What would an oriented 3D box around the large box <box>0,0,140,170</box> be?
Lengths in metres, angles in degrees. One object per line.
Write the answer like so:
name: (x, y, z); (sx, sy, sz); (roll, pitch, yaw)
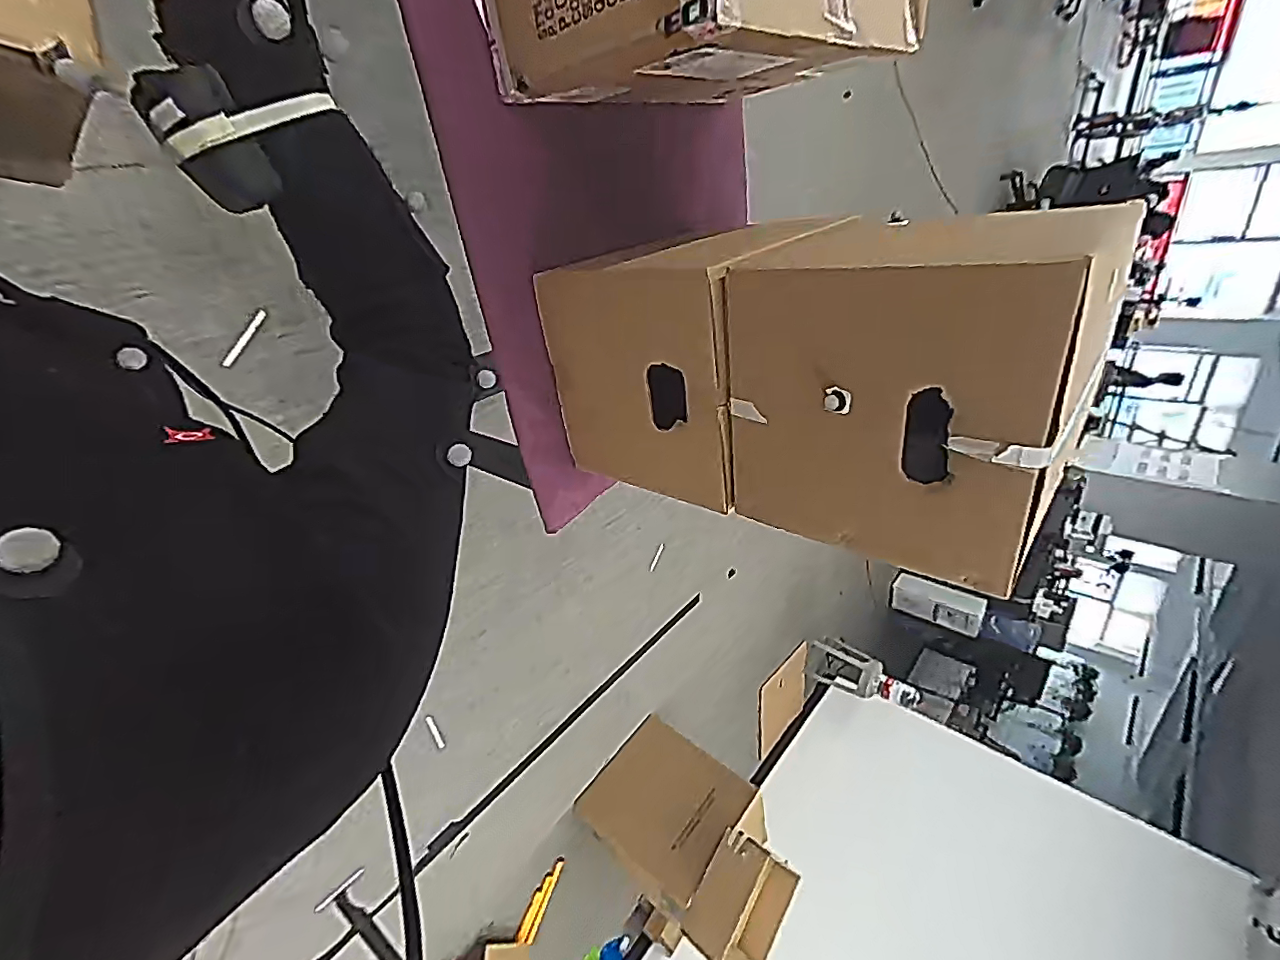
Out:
large box: (-0.446, -0.387, 0.190); (0.320, 0.320, 0.408); (-14, 112, -45)
